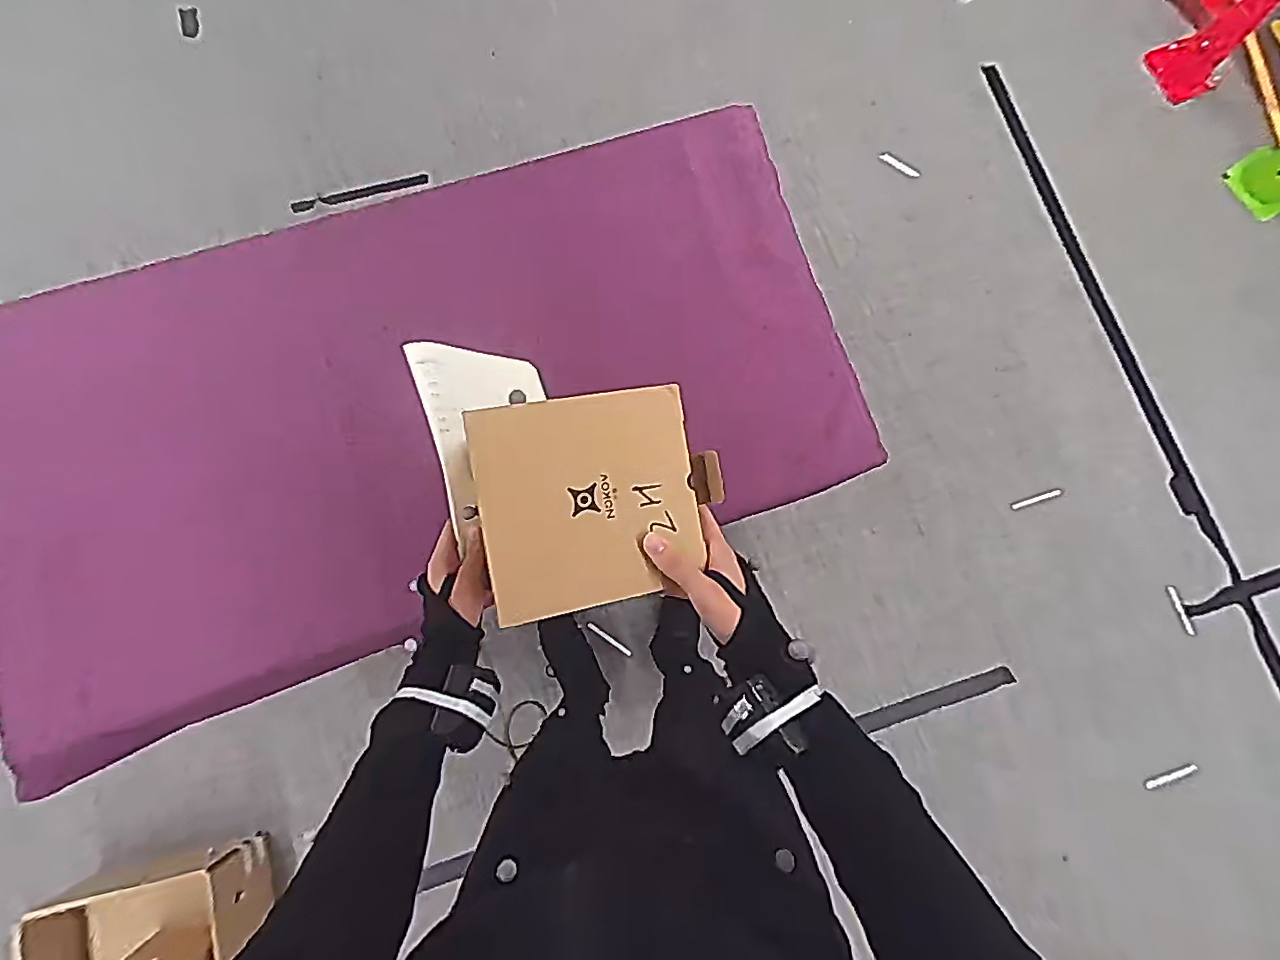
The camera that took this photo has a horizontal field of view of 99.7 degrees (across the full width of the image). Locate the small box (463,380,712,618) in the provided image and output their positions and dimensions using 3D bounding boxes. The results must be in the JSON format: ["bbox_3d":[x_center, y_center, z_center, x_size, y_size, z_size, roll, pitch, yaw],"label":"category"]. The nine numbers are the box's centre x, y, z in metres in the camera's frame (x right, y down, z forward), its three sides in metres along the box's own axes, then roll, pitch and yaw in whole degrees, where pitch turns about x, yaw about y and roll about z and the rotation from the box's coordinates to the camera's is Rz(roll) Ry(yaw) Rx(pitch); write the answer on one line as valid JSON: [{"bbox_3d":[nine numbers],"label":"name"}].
[{"bbox_3d":[-0.056,0.013,0.494,0.179,0.176,0.168,-9,91,-17],"label":"small box"}]

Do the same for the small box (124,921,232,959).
[{"bbox_3d":[-1.019,1.094,1.162,0.179,0.176,0.168,-4,82,-3],"label":"small box"}]
